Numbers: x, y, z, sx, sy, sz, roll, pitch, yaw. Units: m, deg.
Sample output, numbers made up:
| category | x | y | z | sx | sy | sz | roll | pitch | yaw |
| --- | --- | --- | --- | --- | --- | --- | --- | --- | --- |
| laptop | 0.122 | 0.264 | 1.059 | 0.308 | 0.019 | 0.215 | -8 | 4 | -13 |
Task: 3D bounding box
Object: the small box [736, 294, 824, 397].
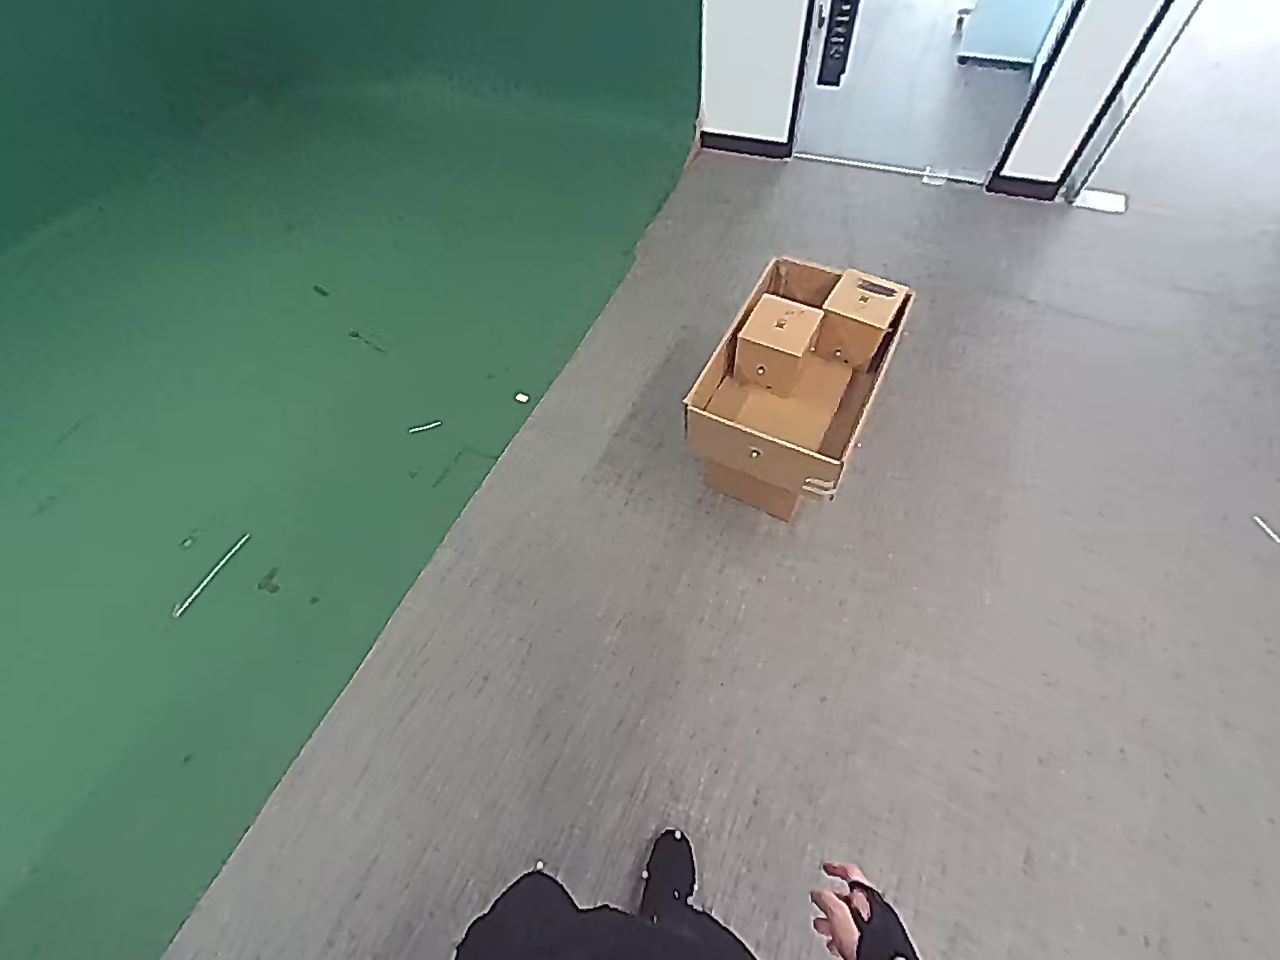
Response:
| category | x | y | z | sx | sy | sz | roll | pitch | yaw |
| --- | --- | --- | --- | --- | --- | --- | --- | --- | --- |
| small box | 0.361 | -0.349 | 1.423 | 0.168 | 0.176 | 0.179 | 25 | 64 | 17 |
